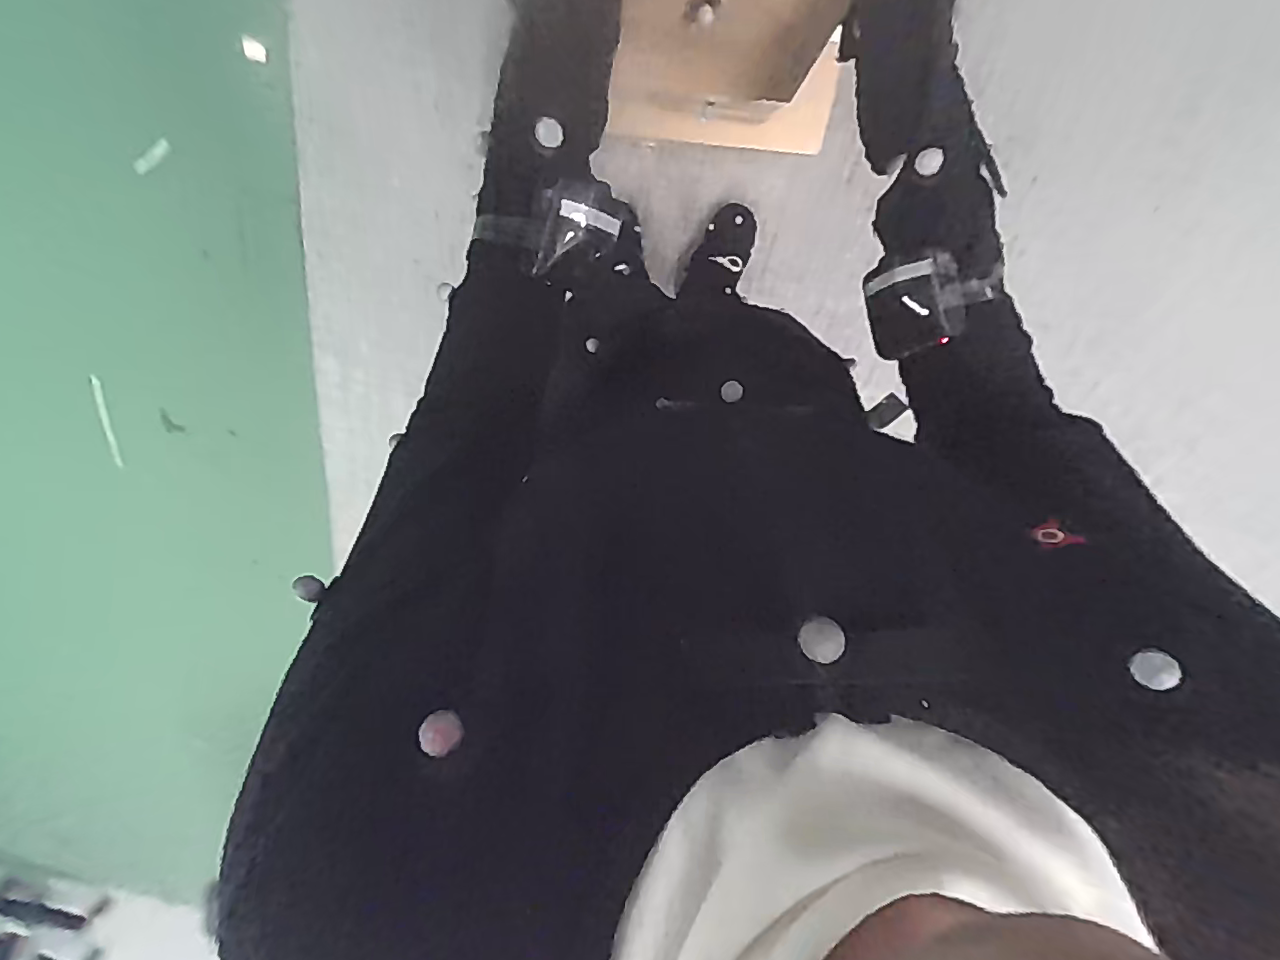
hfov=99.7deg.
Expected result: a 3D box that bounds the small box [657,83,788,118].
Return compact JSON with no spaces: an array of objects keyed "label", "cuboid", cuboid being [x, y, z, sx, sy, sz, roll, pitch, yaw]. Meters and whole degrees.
[{"label":"small box","cuboid":[0.095,-0.523,0.607,0.168,0.176,0.179,10,122,1]}]

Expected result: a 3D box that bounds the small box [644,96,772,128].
[{"label":"small box","cuboid":[0.108,-0.600,0.751,0.179,0.176,0.168,9,122,0]}]
